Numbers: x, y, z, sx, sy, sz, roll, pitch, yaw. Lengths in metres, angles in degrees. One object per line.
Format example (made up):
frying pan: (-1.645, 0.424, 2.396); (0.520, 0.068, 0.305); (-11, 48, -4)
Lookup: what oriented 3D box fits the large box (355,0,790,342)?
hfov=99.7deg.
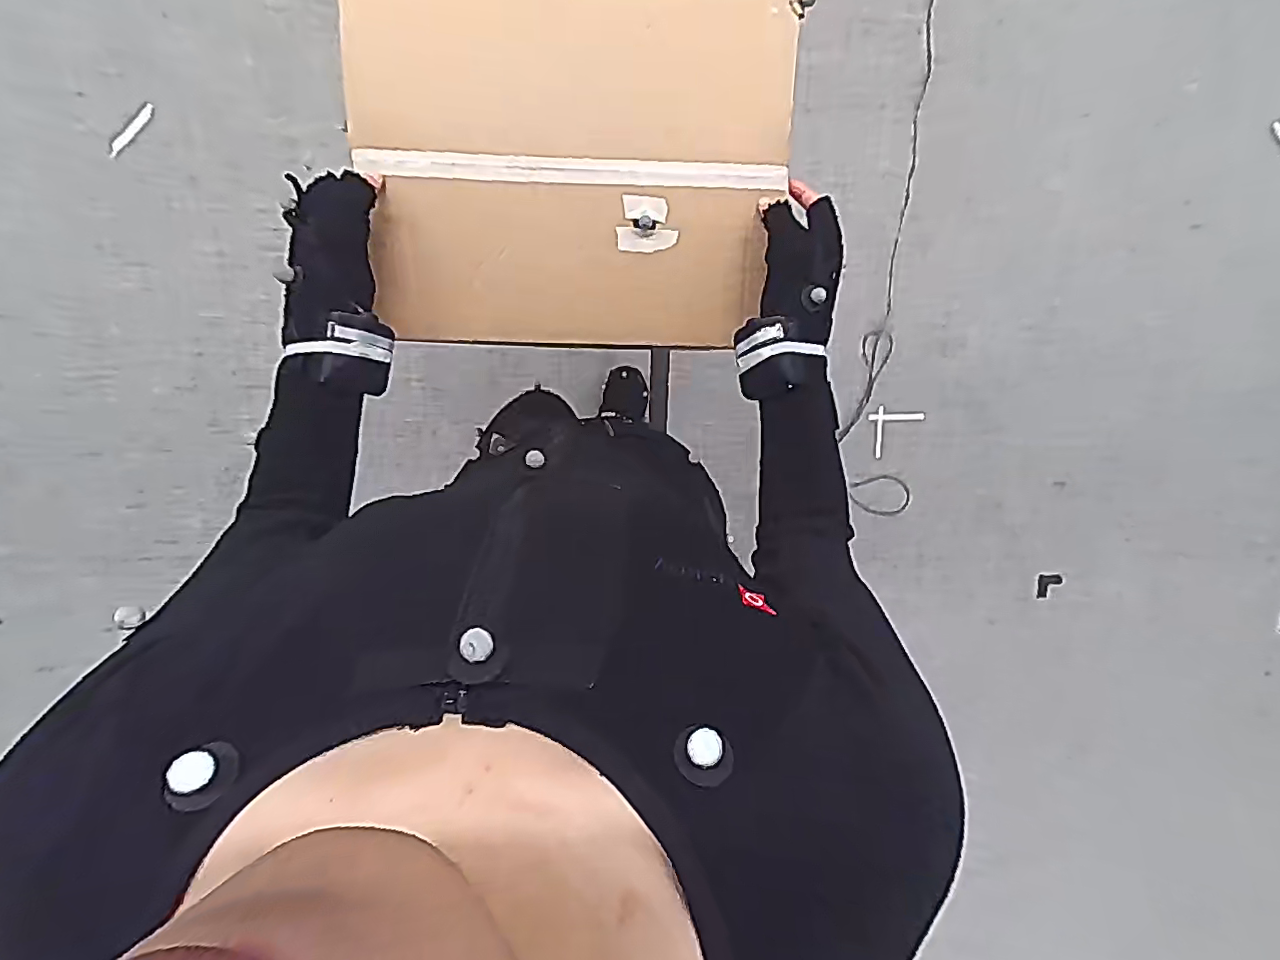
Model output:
large box: (-0.069, -0.336, 0.667); (0.408, 0.320, 0.320); (0, 104, -4)
